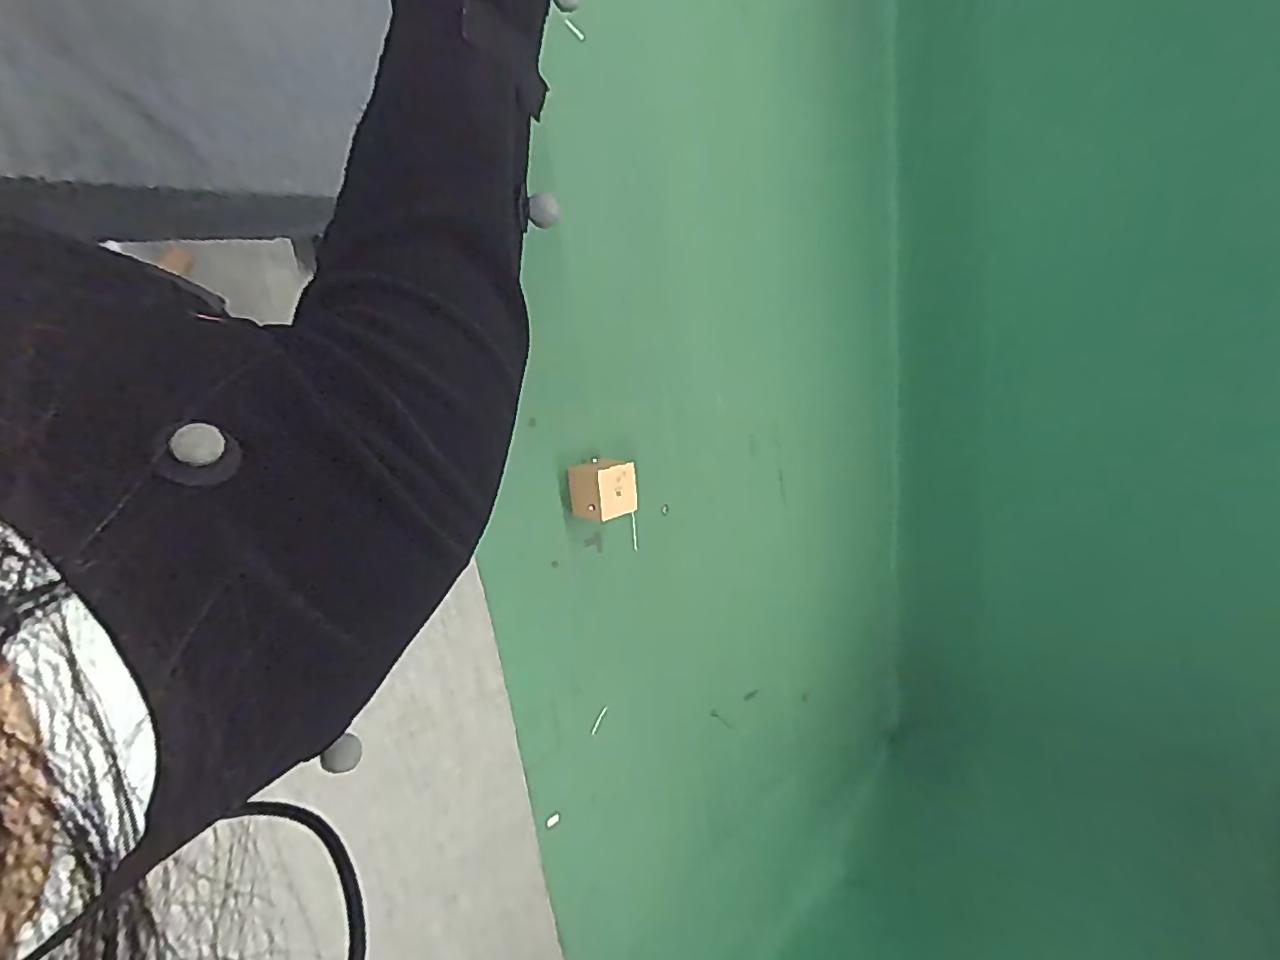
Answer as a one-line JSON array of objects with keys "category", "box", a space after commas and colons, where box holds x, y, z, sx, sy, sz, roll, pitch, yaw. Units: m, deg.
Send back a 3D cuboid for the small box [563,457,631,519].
[{"category": "small box", "box": [-0.150, 0.023, 1.882, 0.168, 0.176, 0.179, -16, 107, -43]}]
